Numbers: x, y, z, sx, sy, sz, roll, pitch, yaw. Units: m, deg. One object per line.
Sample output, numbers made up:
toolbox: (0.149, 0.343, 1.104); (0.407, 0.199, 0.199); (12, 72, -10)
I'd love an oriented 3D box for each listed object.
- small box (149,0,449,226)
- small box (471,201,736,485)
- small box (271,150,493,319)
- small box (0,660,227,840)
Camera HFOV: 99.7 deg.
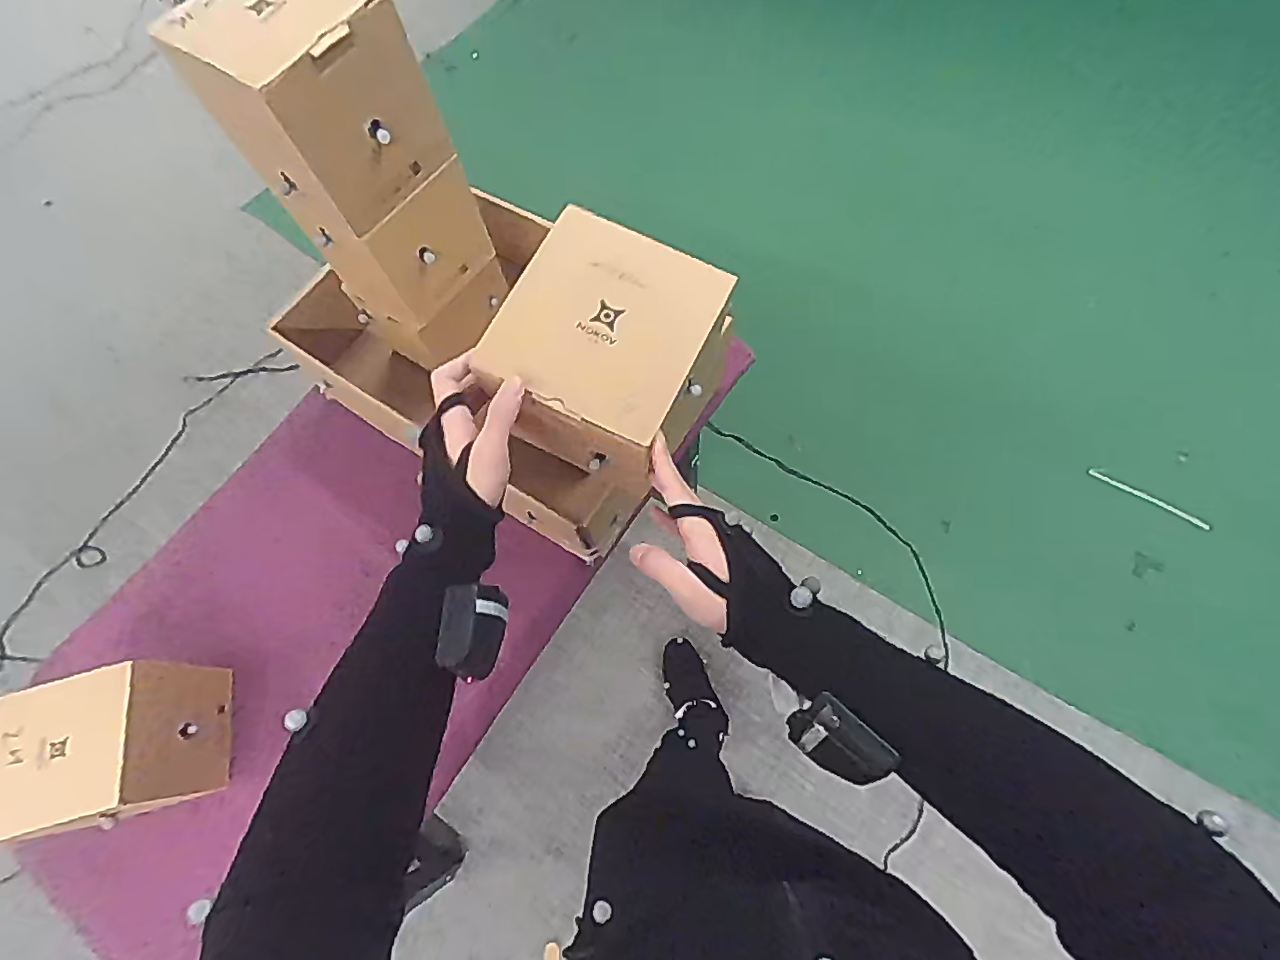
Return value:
small box: (-0.341, -0.411, 0.582); (0.179, 0.176, 0.168); (33, 74, 14)
small box: (-0.028, -0.115, 0.524); (0.168, 0.176, 0.179); (28, 77, 5)
small box: (-0.331, -0.350, 0.734); (0.179, 0.176, 0.168); (33, 74, 15)
small box: (-0.683, 0.342, 0.703); (0.179, 0.176, 0.168); (-15, 67, -3)
